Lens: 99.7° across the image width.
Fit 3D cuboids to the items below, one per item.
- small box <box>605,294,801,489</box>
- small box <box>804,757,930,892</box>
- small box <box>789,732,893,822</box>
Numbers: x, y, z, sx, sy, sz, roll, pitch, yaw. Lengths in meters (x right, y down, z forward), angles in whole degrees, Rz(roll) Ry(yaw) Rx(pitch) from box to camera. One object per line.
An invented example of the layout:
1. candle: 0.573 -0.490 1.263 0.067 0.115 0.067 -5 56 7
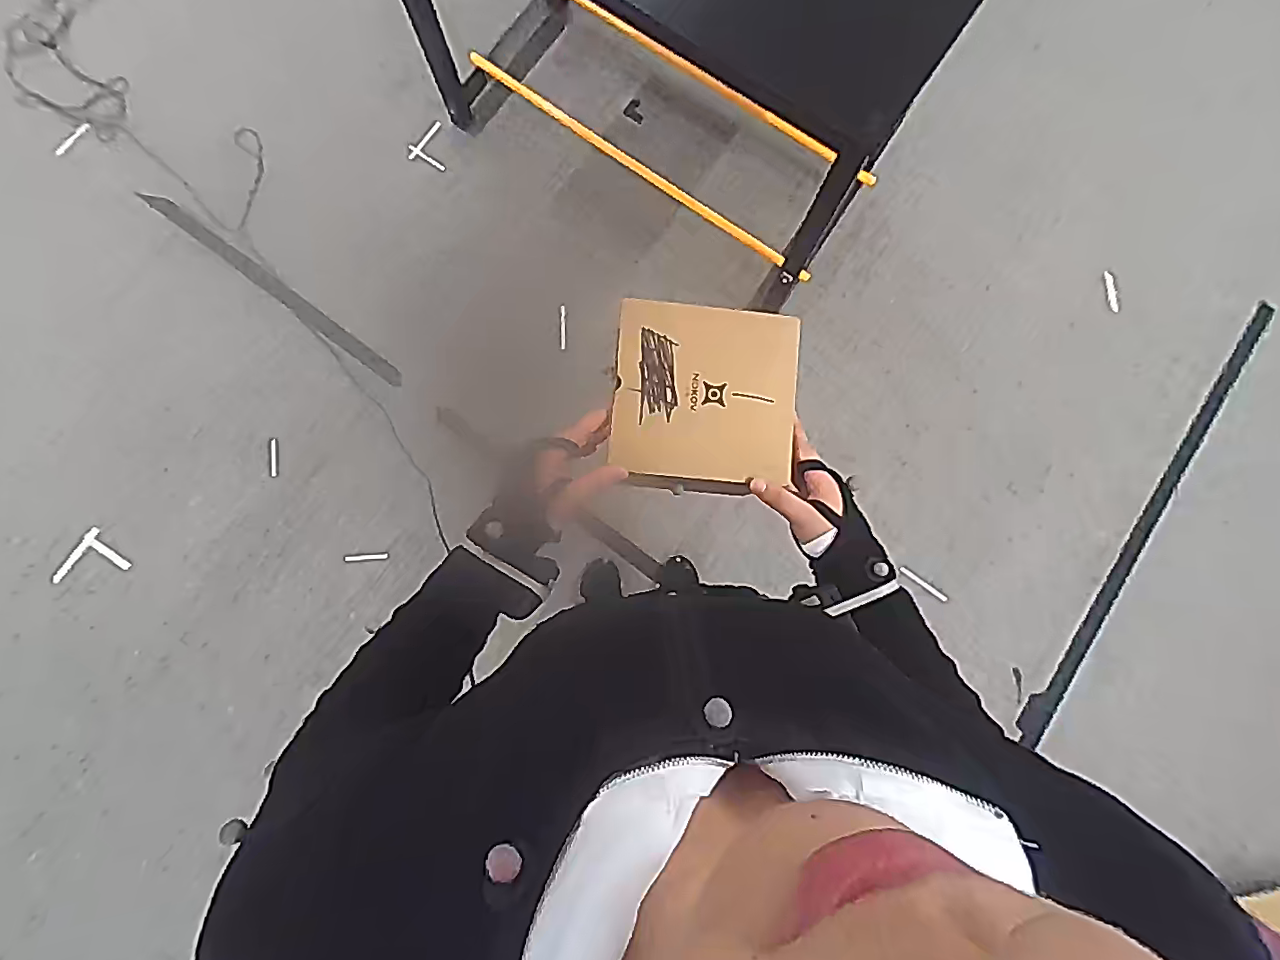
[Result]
1. small box: 0.055 -0.081 0.584 0.179 0.176 0.168 5 86 -5
2. small box: 0.491 0.746 1.199 0.179 0.176 0.168 28 83 4
3. small box: 0.495 0.776 1.360 0.168 0.176 0.179 29 83 3
